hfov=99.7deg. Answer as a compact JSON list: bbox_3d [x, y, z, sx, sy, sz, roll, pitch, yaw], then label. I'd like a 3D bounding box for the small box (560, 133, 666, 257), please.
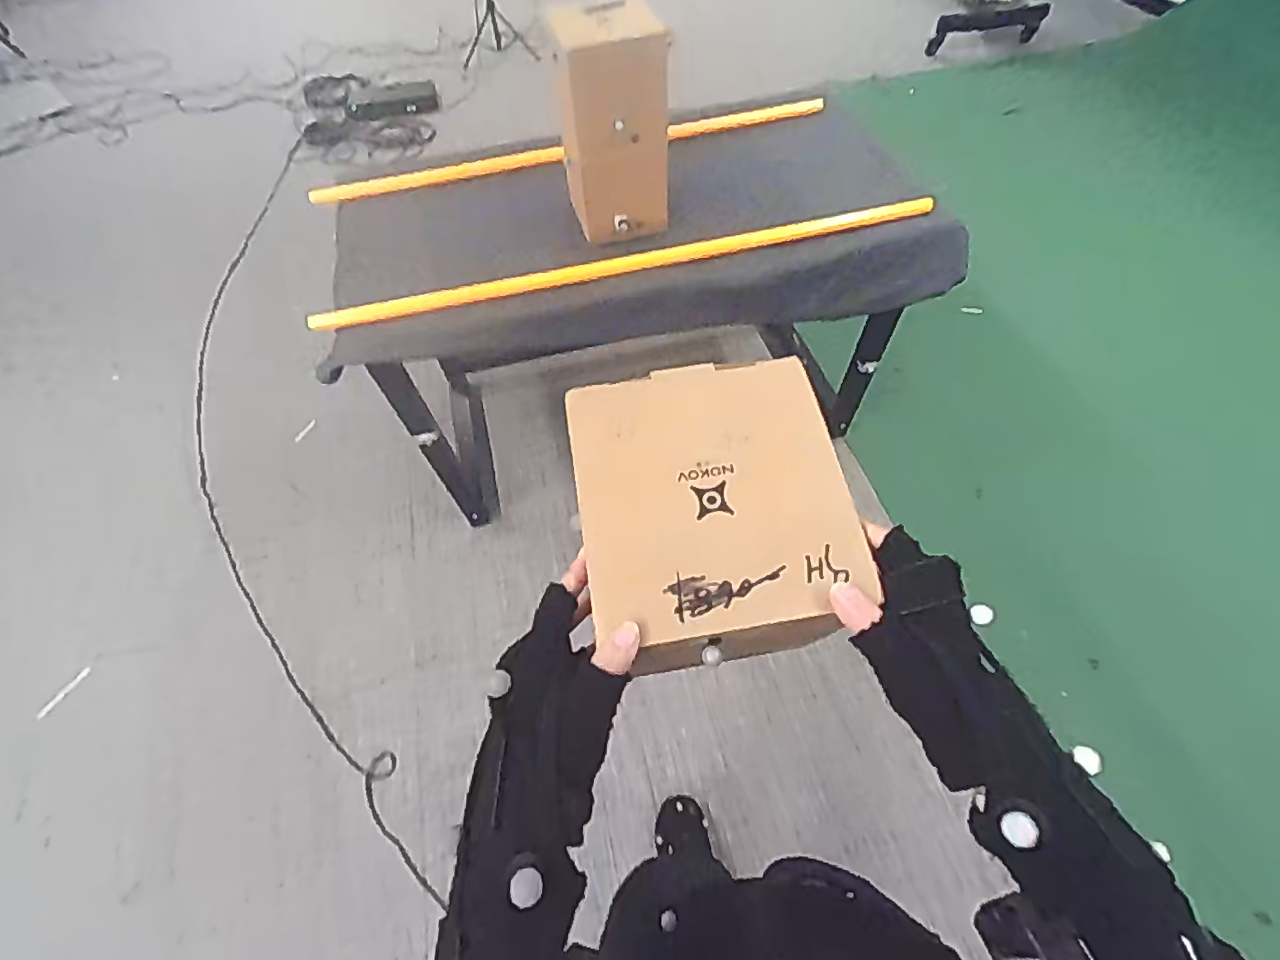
[{"bbox_3d":[-0.051,-0.581,1.080,0.168,0.176,0.179,-17,59,-6],"label":"small box"}]

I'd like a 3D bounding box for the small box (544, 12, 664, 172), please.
[{"bbox_3d":[-0.060,-0.672,0.943,0.168,0.176,0.179,-15,58,-5],"label":"small box"}]

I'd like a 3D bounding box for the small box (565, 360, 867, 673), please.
[{"bbox_3d":[0.042,0.037,0.417,0.168,0.176,0.179,-10,64,-2],"label":"small box"}]
